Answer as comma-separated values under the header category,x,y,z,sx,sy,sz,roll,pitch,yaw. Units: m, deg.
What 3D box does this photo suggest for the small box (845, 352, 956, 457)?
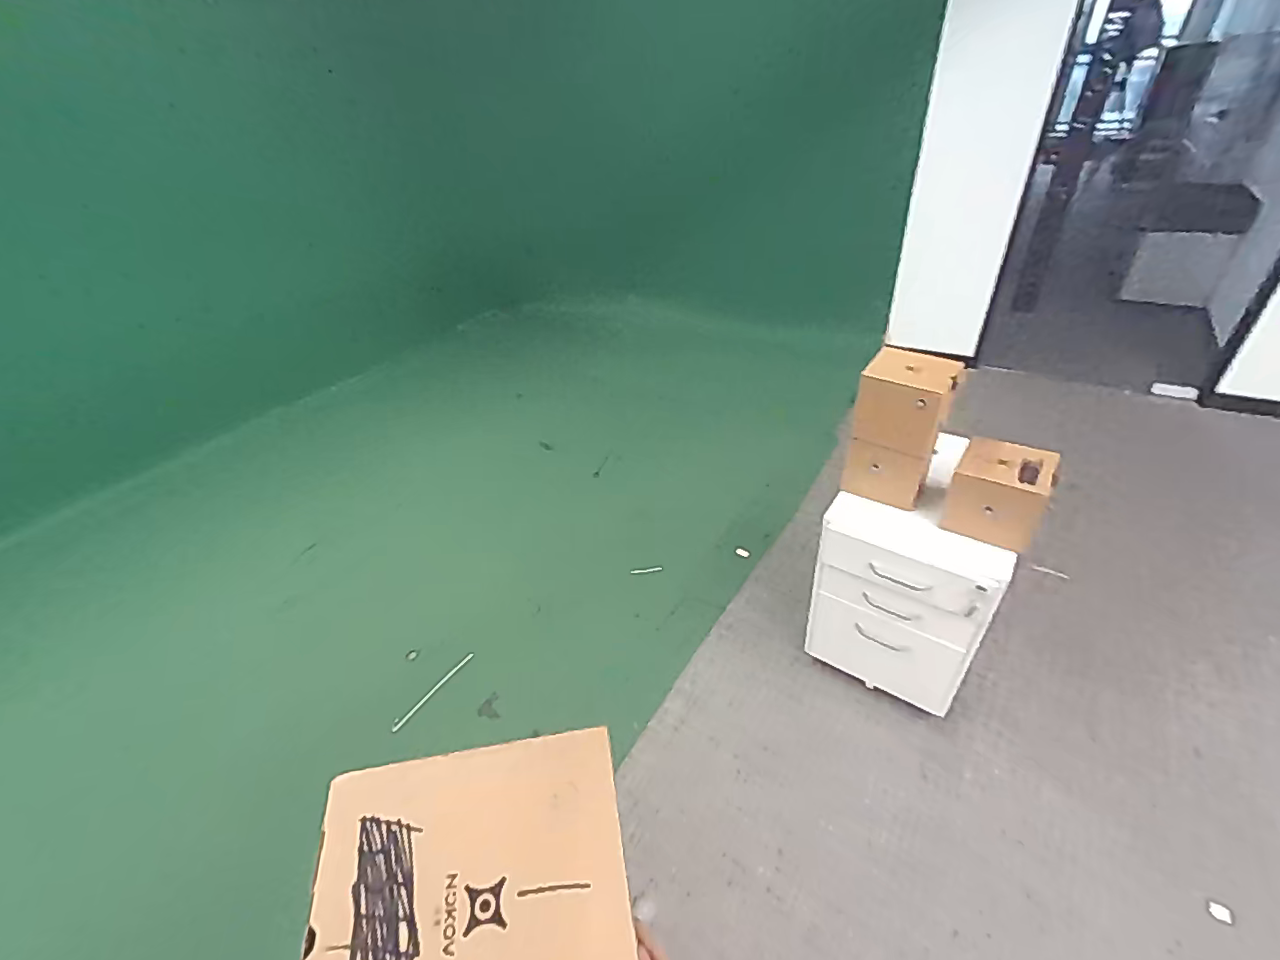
category,x,y,z,sx,sy,sz,roll,pitch,yaw
small box,0.600,-0.176,1.262,0.179,0.176,0.168,23,46,30

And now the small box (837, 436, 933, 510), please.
category,x,y,z,sx,sy,sz,roll,pitch,yaw
small box,0.614,-0.049,1.364,0.179,0.176,0.168,20,45,30

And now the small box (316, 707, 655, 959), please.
category,x,y,z,sx,sy,sz,roll,pitch,yaw
small box,-0.087,0.278,0.363,0.179,0.176,0.168,-6,46,-8
